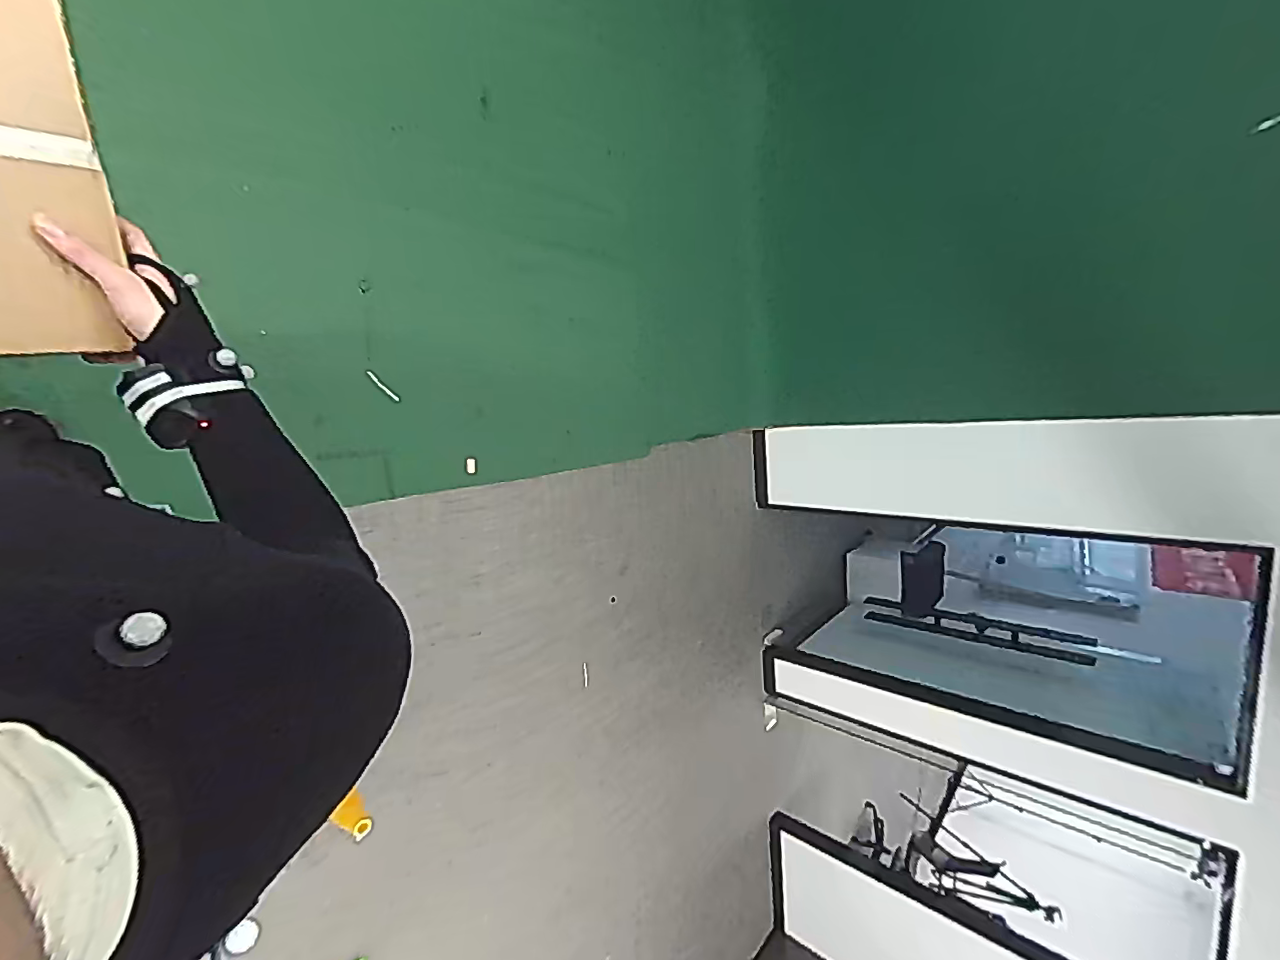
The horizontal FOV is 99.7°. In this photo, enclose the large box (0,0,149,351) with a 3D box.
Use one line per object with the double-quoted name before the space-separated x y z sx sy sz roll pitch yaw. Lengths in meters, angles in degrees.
"large box" -0.700 -0.253 0.406 0.408 0.320 0.320 -20 115 -48
